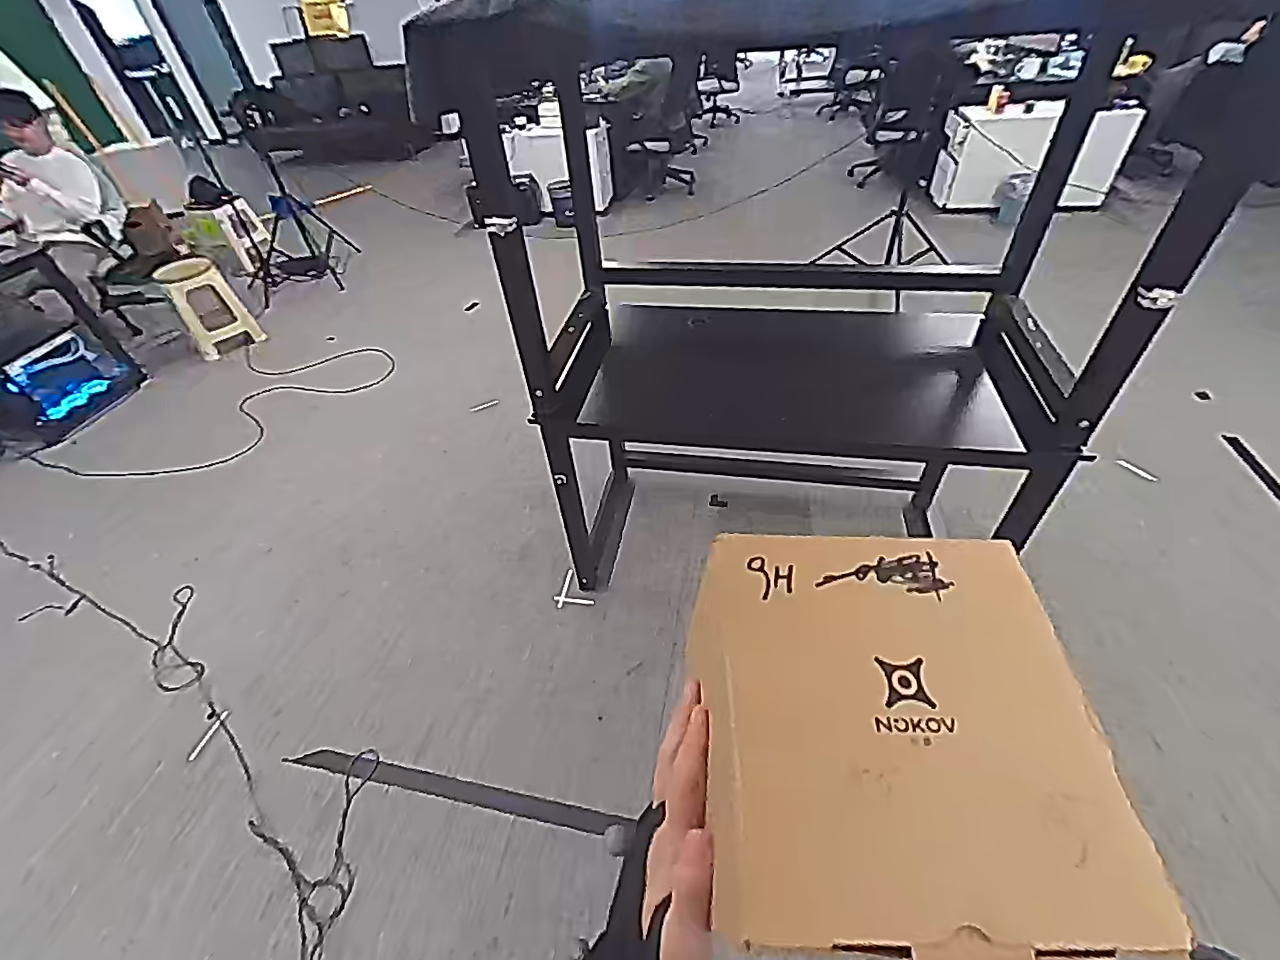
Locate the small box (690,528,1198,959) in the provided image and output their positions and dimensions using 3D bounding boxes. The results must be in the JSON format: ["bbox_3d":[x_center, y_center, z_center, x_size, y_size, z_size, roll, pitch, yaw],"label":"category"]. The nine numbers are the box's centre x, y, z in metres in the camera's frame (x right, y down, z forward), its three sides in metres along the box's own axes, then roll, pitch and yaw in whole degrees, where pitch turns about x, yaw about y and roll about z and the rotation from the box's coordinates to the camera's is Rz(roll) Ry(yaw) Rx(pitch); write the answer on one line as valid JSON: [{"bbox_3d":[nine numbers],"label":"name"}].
[{"bbox_3d":[0.120,0.145,0.306,0.168,0.176,0.179,2,54,-1],"label":"small box"}]
